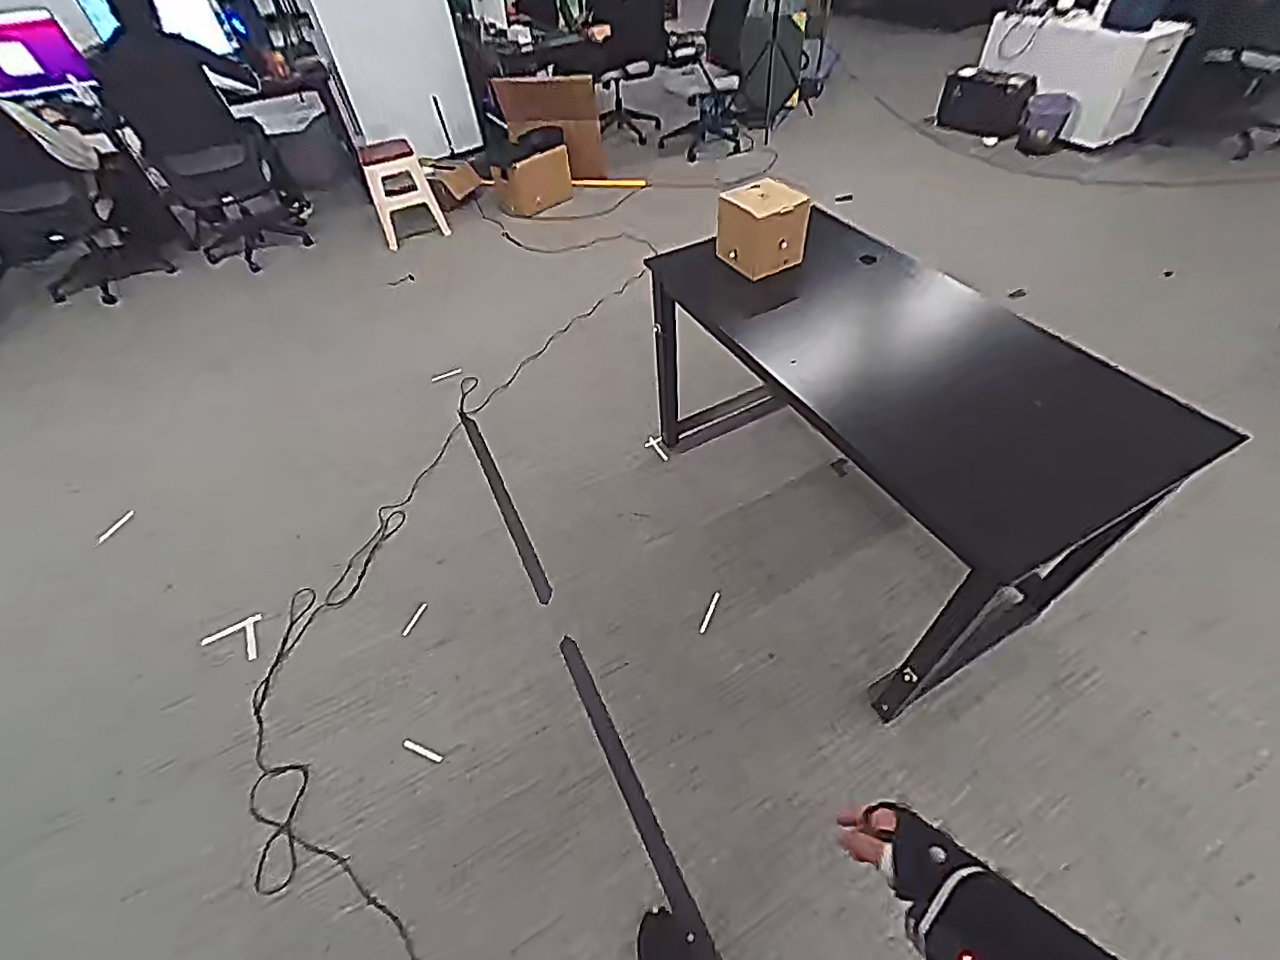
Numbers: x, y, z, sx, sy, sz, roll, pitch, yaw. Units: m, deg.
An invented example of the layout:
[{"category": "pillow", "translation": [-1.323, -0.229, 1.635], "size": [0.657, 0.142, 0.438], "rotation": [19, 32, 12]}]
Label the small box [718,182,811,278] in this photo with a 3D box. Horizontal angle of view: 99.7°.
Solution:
[{"category": "small box", "translation": [0.324, -0.661, 1.441], "size": [0.168, 0.176, 0.179], "rotation": [-25, 53, -17]}]
